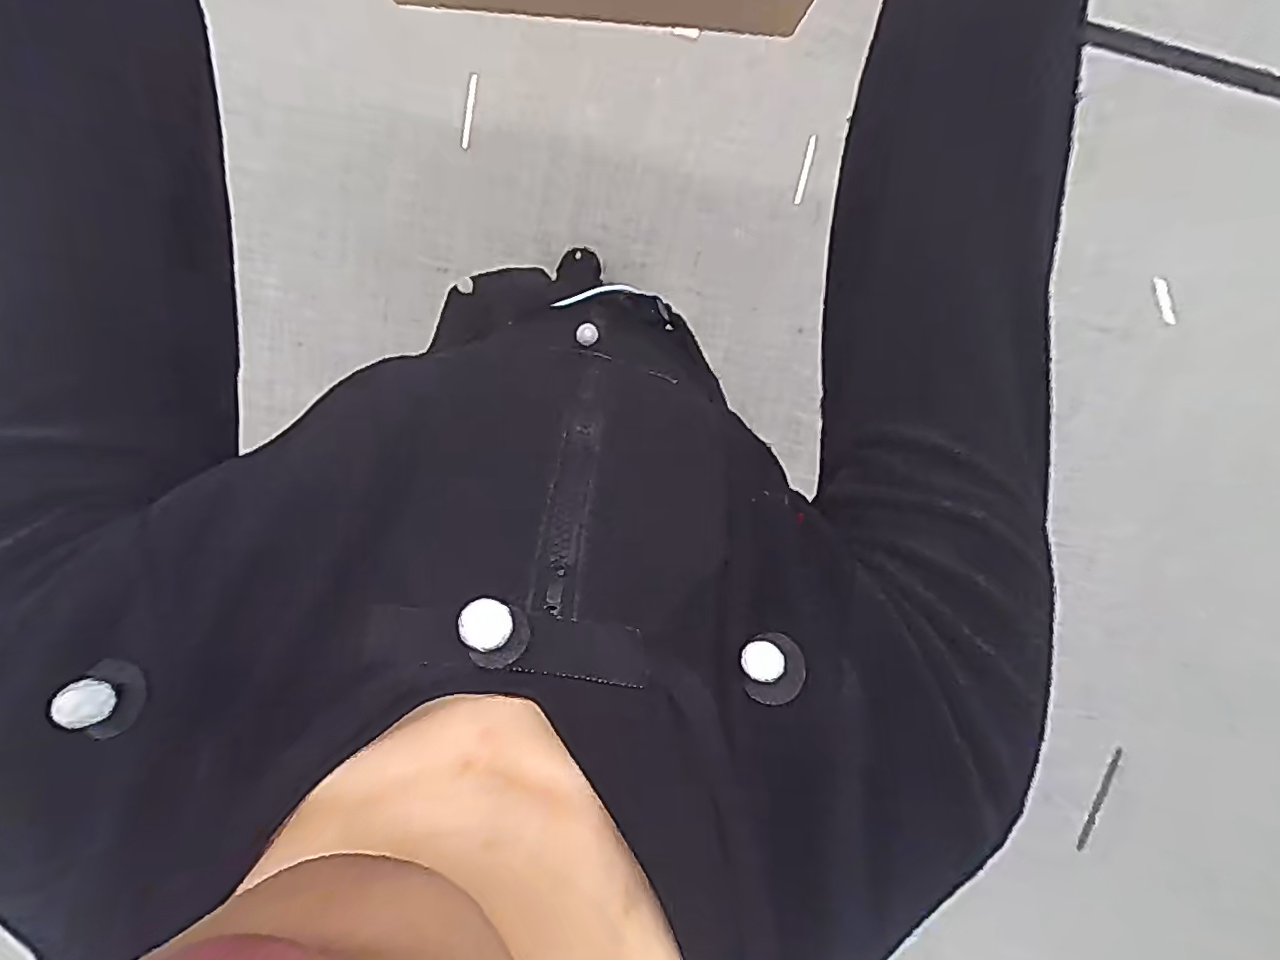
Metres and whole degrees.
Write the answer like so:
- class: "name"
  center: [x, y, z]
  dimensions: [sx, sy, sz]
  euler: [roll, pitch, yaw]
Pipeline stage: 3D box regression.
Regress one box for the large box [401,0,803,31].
- class: "large box"
  center: [-0.035, -0.566, 0.366]
  dimensions: [0.408, 0.320, 0.320]
  euler: [3, 110, -2]
